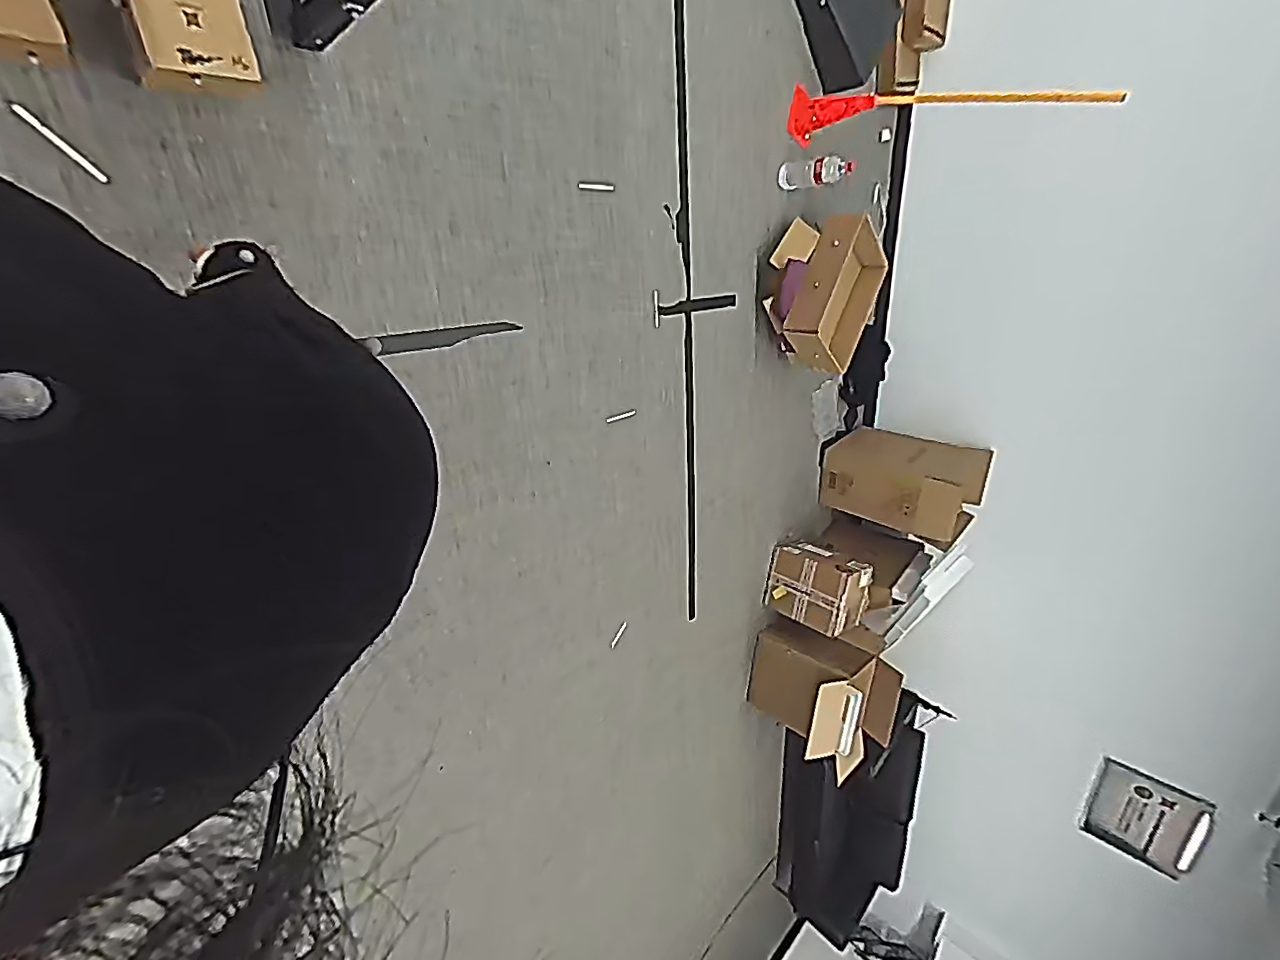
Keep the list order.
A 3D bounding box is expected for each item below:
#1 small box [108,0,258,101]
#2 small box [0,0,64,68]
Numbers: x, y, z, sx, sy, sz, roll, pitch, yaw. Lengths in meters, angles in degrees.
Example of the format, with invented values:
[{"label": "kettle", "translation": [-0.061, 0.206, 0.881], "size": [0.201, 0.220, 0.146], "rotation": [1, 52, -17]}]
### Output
[{"label": "small box", "translation": [-0.834, -0.821, 0.982], "size": [0.168, 0.176, 0.179], "rotation": [-24, 120, -39]}, {"label": "small box", "translation": [-1.021, -0.748, 0.811], "size": [0.179, 0.176, 0.168], "rotation": [-22, 119, -40]}]
